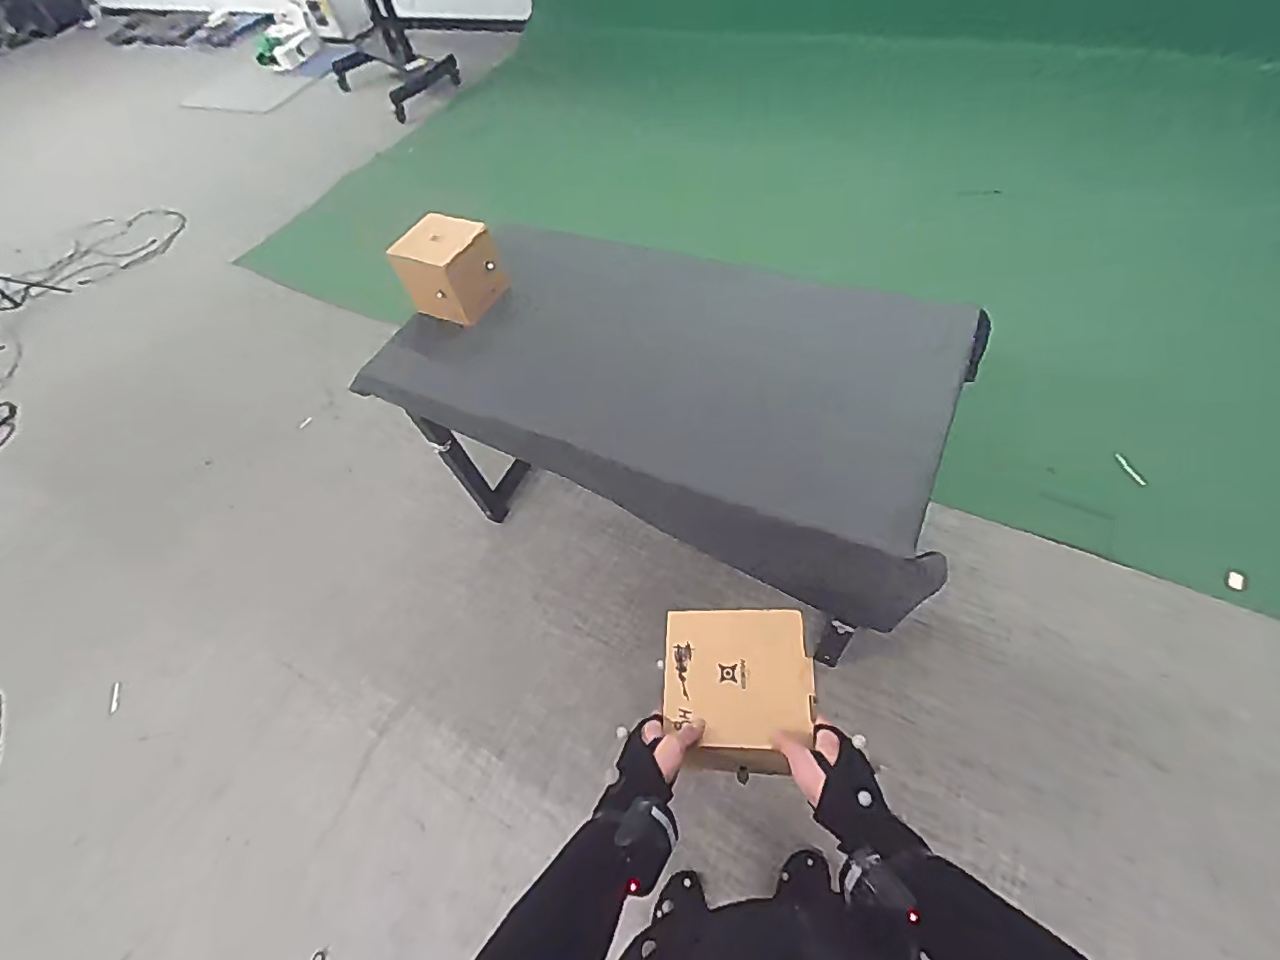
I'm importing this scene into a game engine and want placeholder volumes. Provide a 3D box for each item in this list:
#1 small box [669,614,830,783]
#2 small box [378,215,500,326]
[{"bbox_3d":[0.133,0.284,0.697,0.179,0.176,0.168,-2,52,8],"label":"small box"},{"bbox_3d":[-0.455,-0.483,1.259,0.179,0.176,0.168,19,58,19],"label":"small box"}]
